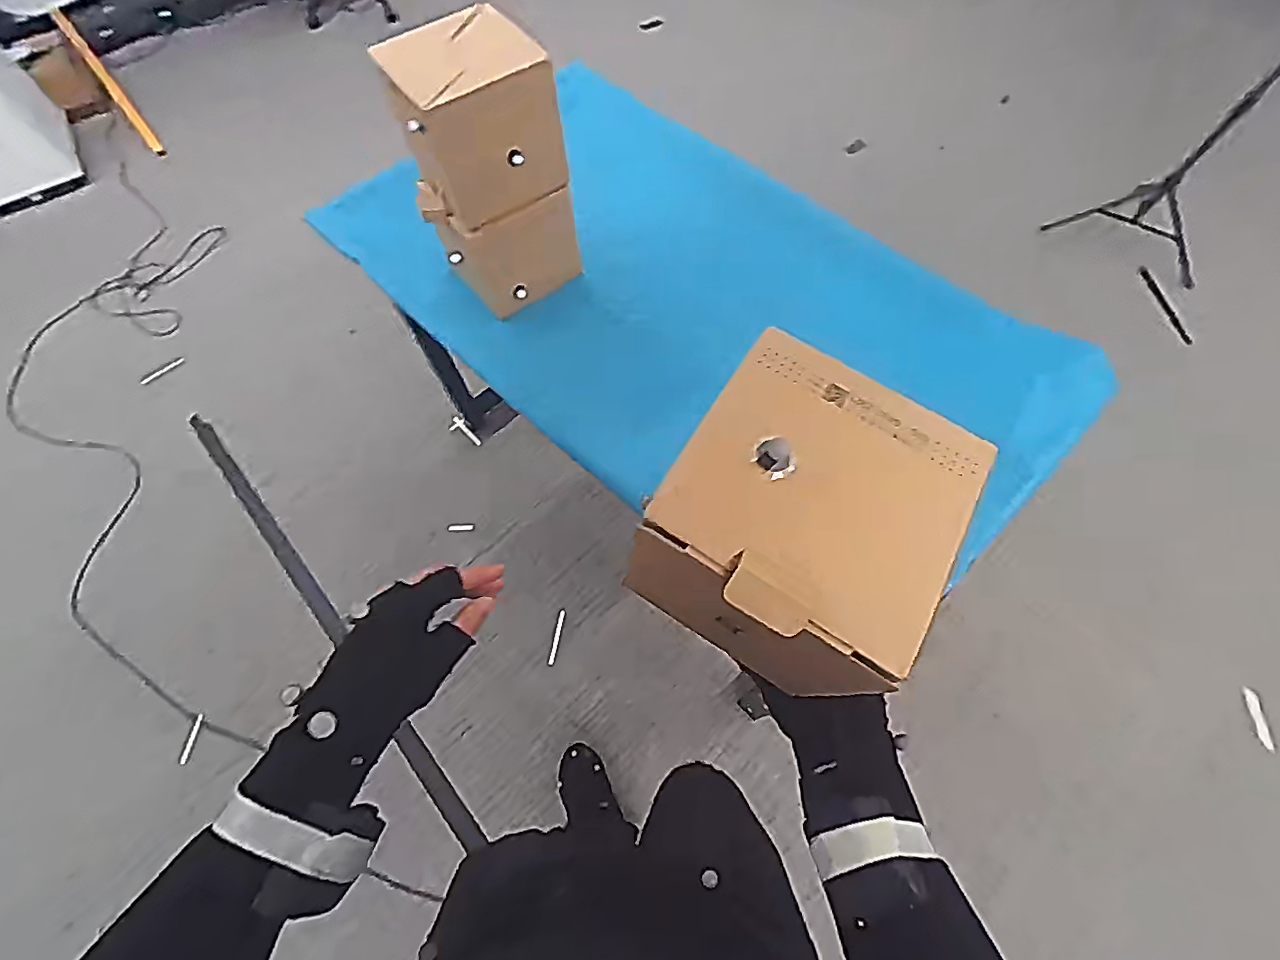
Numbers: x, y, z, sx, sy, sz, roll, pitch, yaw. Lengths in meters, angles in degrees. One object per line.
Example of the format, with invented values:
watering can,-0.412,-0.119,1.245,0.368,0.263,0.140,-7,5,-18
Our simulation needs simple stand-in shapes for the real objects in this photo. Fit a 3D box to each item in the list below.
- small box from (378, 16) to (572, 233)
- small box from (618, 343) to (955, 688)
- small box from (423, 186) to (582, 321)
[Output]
small box,-0.220,-0.487,0.741,0.179,0.176,0.168,-34,68,-12
small box,0.101,0.033,0.406,0.168,0.179,0.176,33,69,8
small box,-0.220,-0.404,0.884,0.179,0.176,0.168,-37,69,-15
